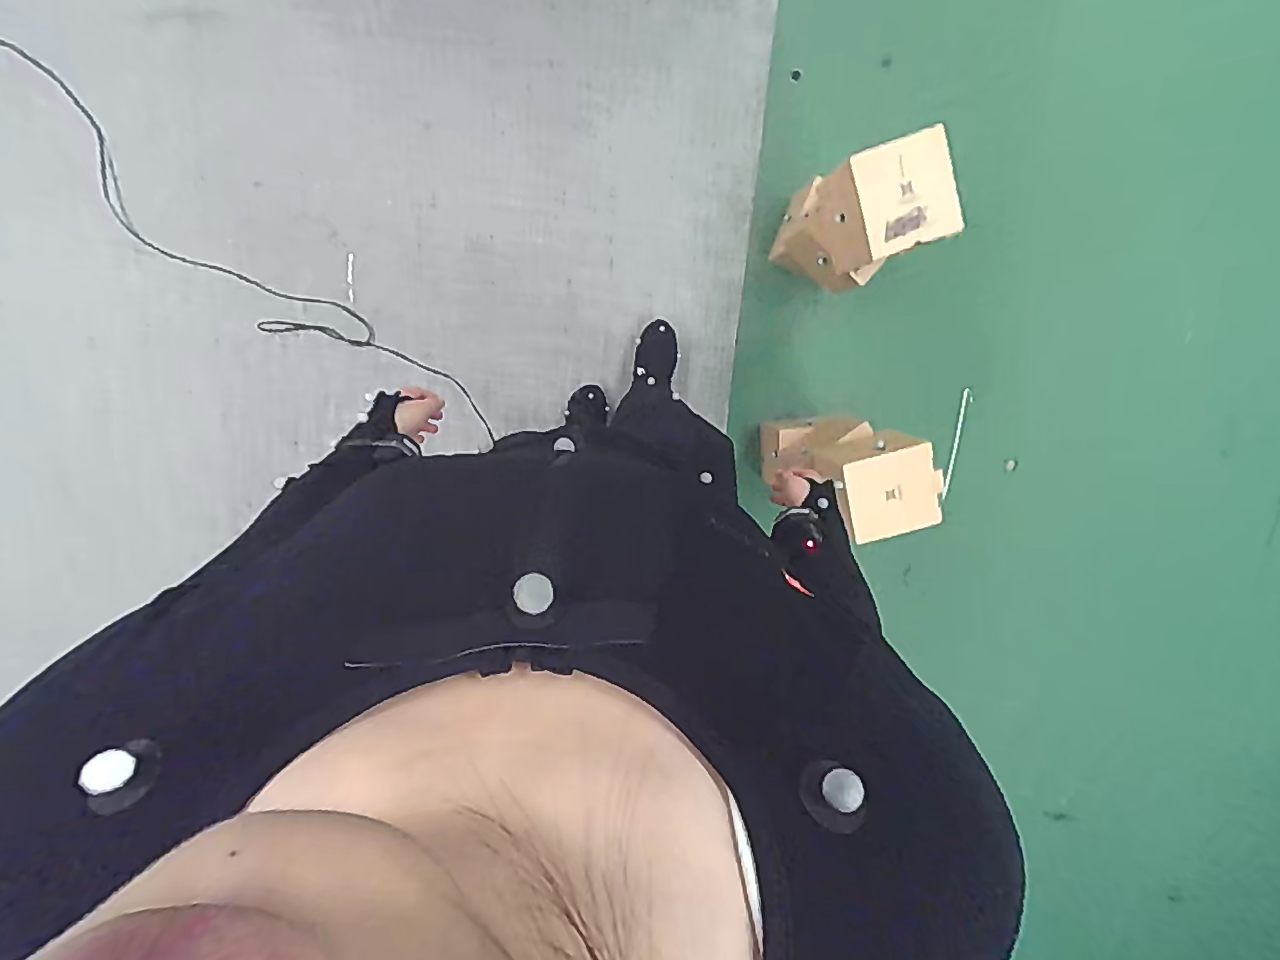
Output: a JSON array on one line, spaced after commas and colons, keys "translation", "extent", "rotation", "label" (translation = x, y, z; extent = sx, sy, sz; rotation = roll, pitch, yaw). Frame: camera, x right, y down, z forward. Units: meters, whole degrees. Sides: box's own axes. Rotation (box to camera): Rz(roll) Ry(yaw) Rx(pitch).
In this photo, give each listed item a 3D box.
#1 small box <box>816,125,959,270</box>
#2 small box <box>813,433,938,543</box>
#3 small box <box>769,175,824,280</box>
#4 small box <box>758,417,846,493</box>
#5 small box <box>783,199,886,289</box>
[{"translation": [0.444, -0.499, 0.989], "extent": [0.168, 0.176, 0.179], "rotation": [-18, 102, 2], "label": "small box"}, {"translation": [0.469, 0.010, 1.105], "extent": [0.179, 0.176, 0.168], "rotation": [-15, 104, 1], "label": "small box"}, {"translation": [0.435, -0.594, 1.302], "extent": [0.179, 0.176, 0.168], "rotation": [20, 102, -8], "label": "small box"}, {"translation": [0.420, -0.071, 1.421], "extent": [0.179, 0.176, 0.168], "rotation": [-5, 103, -3], "label": "small box"}, {"translation": [0.435, -0.527, 1.151], "extent": [0.179, 0.176, 0.168], "rotation": [41, 99, -11], "label": "small box"}]
